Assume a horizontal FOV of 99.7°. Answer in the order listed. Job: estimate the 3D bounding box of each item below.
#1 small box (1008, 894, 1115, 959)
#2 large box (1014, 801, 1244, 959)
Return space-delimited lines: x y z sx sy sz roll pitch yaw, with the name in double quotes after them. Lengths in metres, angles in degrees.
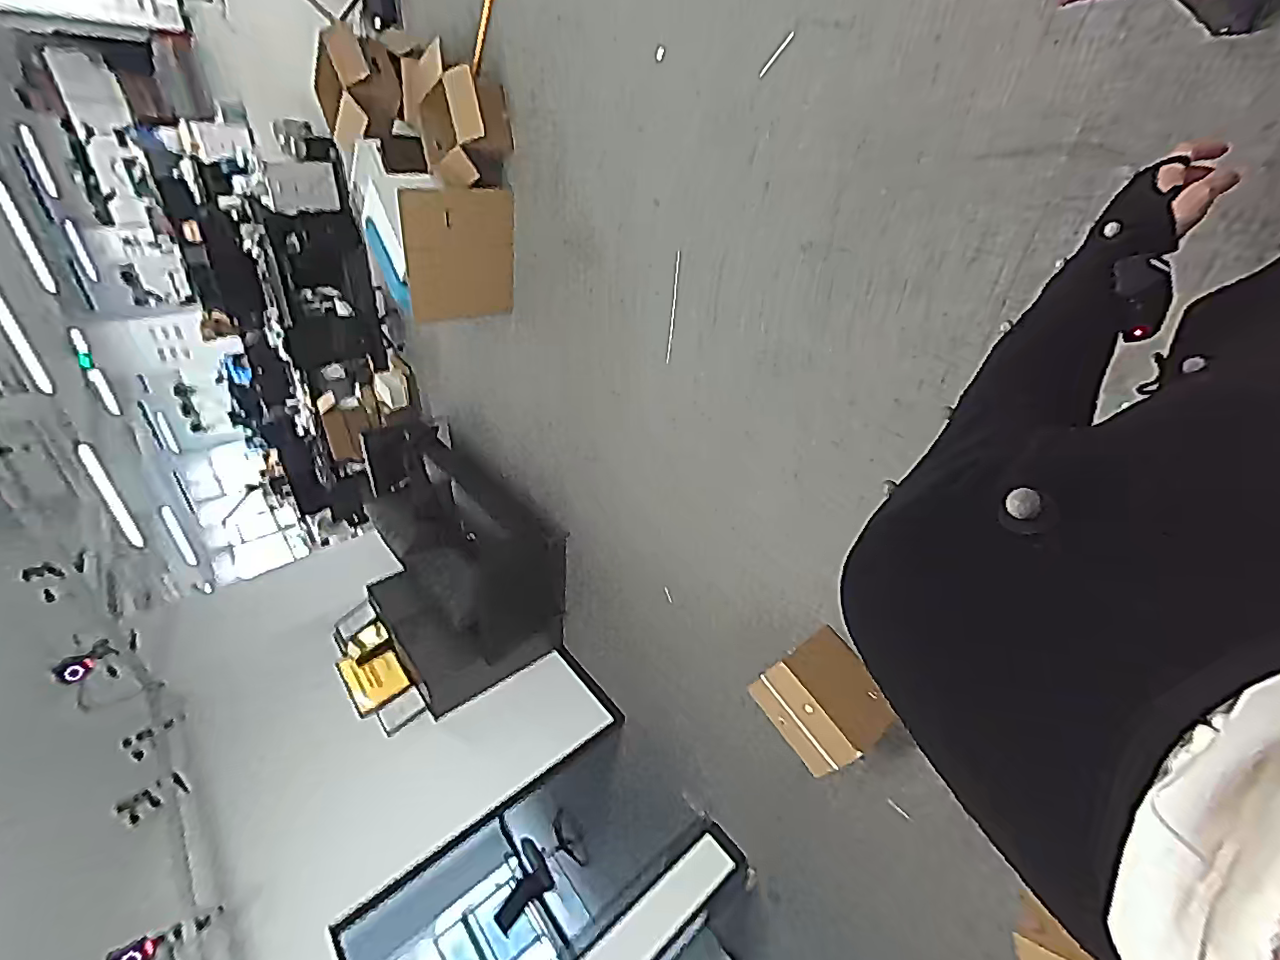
1.093 1.228 1.396 0.179 0.176 0.168 -6 102 54 "small box"
1.332 1.179 1.485 0.408 0.320 0.320 -6 104 53 "large box"
